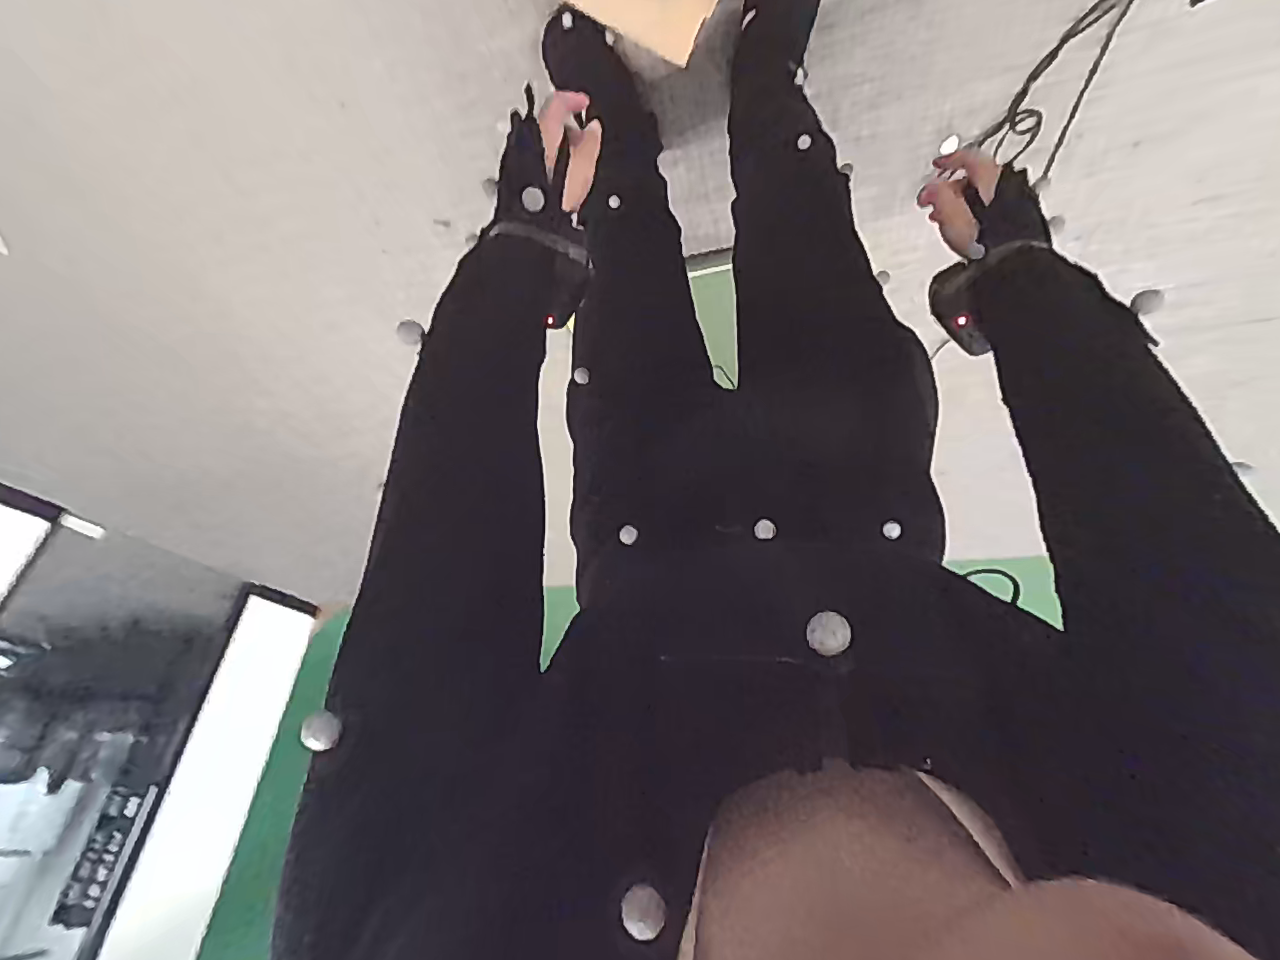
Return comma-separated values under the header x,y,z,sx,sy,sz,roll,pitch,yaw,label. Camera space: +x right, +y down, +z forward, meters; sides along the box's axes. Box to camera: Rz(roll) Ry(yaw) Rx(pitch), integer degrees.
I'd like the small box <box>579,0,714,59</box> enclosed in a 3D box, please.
x,y,z,sx,sy,sz,roll,pitch,yaw,label
0.019,-0.676,0.656,0.179,0.176,0.168,15,148,-20,small box
